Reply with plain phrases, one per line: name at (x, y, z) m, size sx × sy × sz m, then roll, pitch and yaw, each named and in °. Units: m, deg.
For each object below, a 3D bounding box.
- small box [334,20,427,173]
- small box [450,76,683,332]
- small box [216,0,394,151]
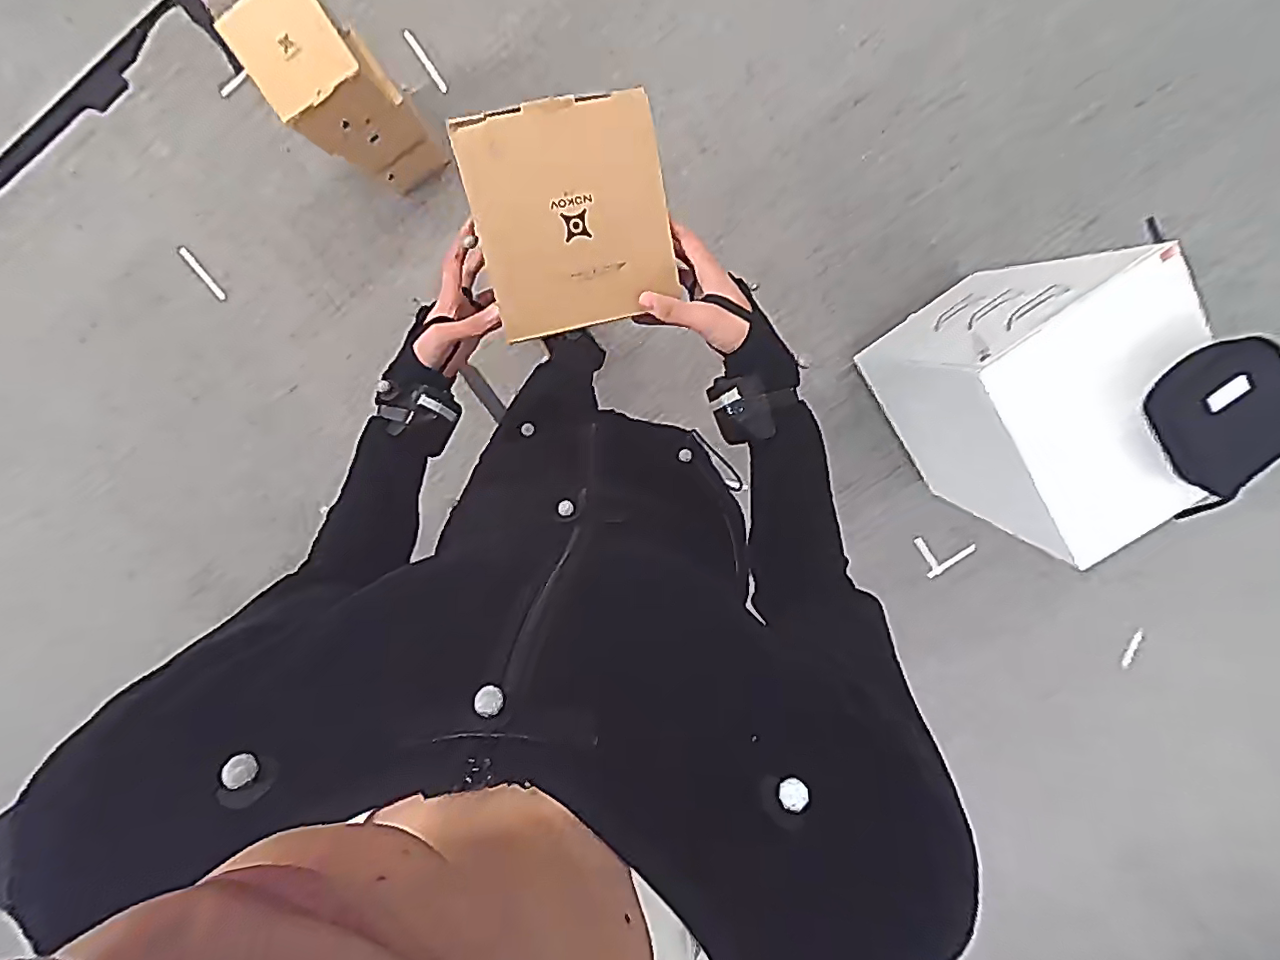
small box at (-0.583, -0.784, 1.130) m, size 0.179 × 0.176 × 0.168 m, roll -34°, pitch 104°, yaw 5°
small box at (-0.071, -0.247, 0.521) m, size 0.168 × 0.176 × 0.179 m, roll -14°, pitch 110°, yaw -8°
small box at (-0.586, -0.741, 0.973) m, size 0.168 × 0.176 × 0.179 m, roll -32°, pitch 105°, yaw 5°
